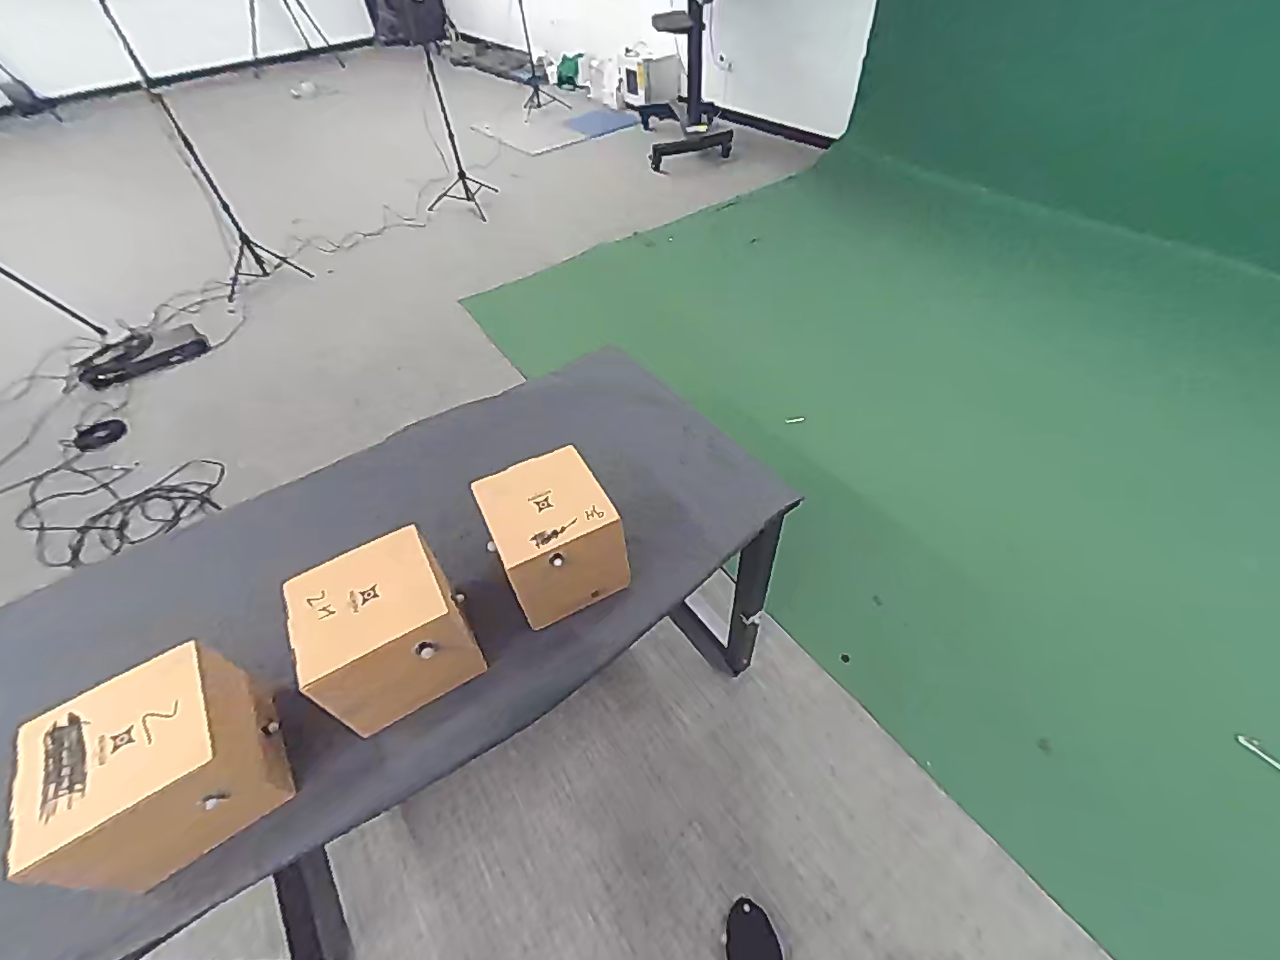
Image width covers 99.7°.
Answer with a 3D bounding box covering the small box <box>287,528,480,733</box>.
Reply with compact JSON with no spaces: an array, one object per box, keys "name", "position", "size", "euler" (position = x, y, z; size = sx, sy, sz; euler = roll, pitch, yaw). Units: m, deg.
[{"name":"small box","position":[-0.333,0.203,0.729],"size":[0.179,0.176,0.168],"euler":[-27,50,-17]}]
